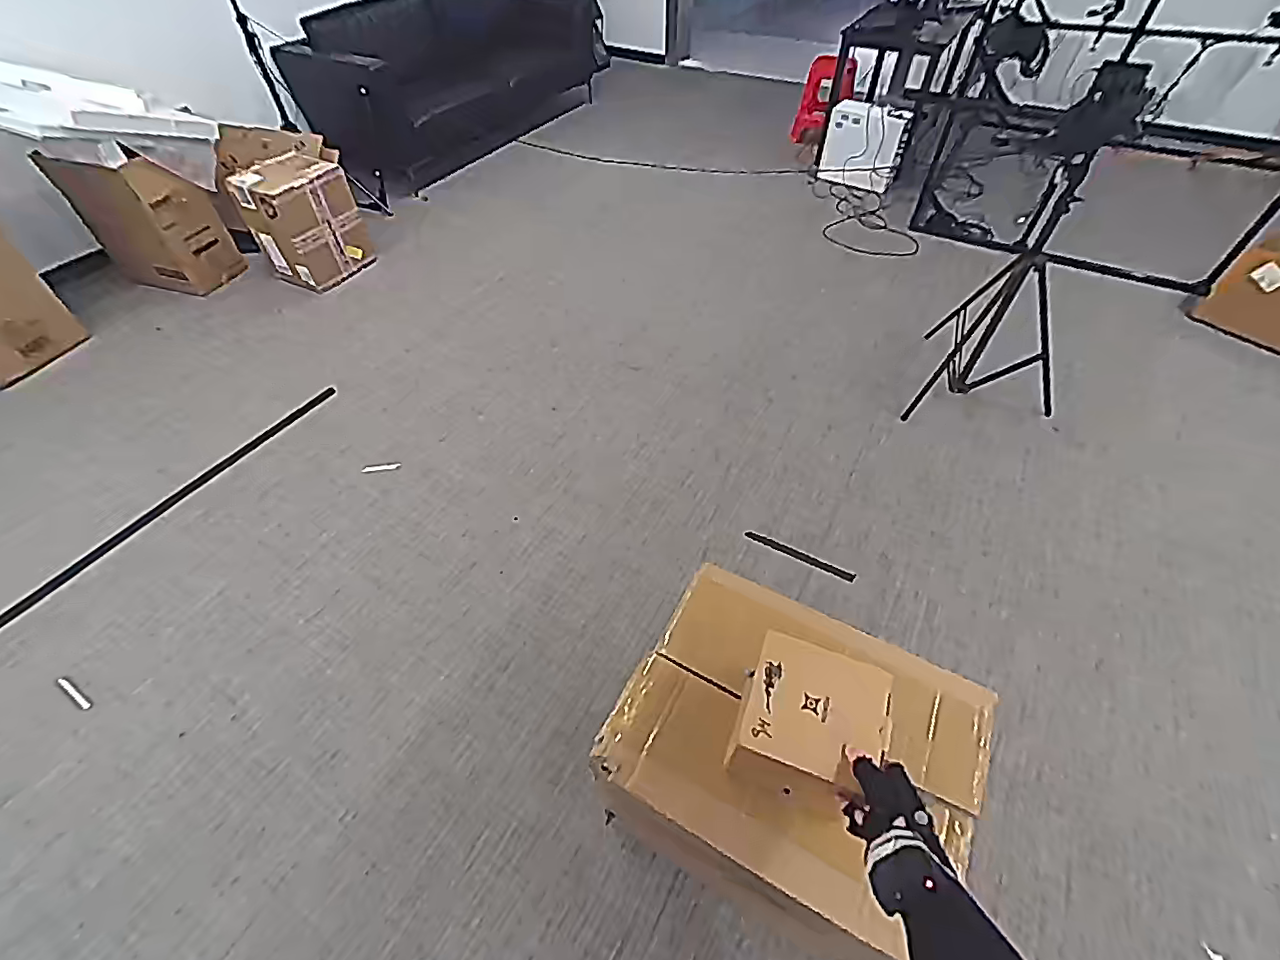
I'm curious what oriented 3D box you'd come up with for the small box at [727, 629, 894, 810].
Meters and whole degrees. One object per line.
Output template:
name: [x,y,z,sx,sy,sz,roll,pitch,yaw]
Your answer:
small box: [0.234,0.343,0.766,0.179,0.176,0.168,17,54,14]
